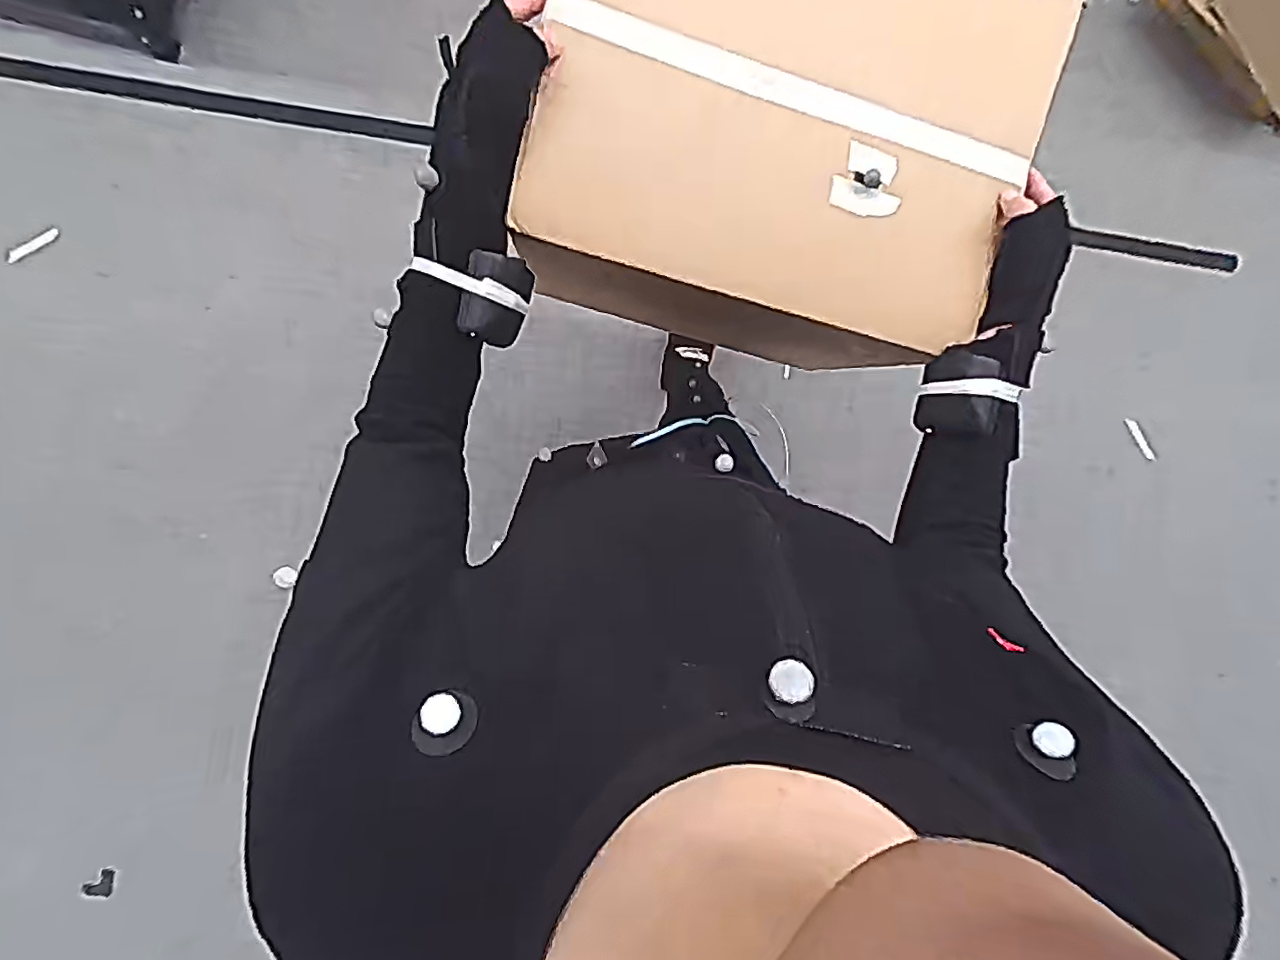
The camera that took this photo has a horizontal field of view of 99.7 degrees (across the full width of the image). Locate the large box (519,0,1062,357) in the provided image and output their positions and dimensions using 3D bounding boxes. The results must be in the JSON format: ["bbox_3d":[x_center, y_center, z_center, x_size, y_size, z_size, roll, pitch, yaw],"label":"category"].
[{"bbox_3d":[0.106,-0.334,0.580,0.408,0.320,0.320,13,100,-10],"label":"large box"}]
